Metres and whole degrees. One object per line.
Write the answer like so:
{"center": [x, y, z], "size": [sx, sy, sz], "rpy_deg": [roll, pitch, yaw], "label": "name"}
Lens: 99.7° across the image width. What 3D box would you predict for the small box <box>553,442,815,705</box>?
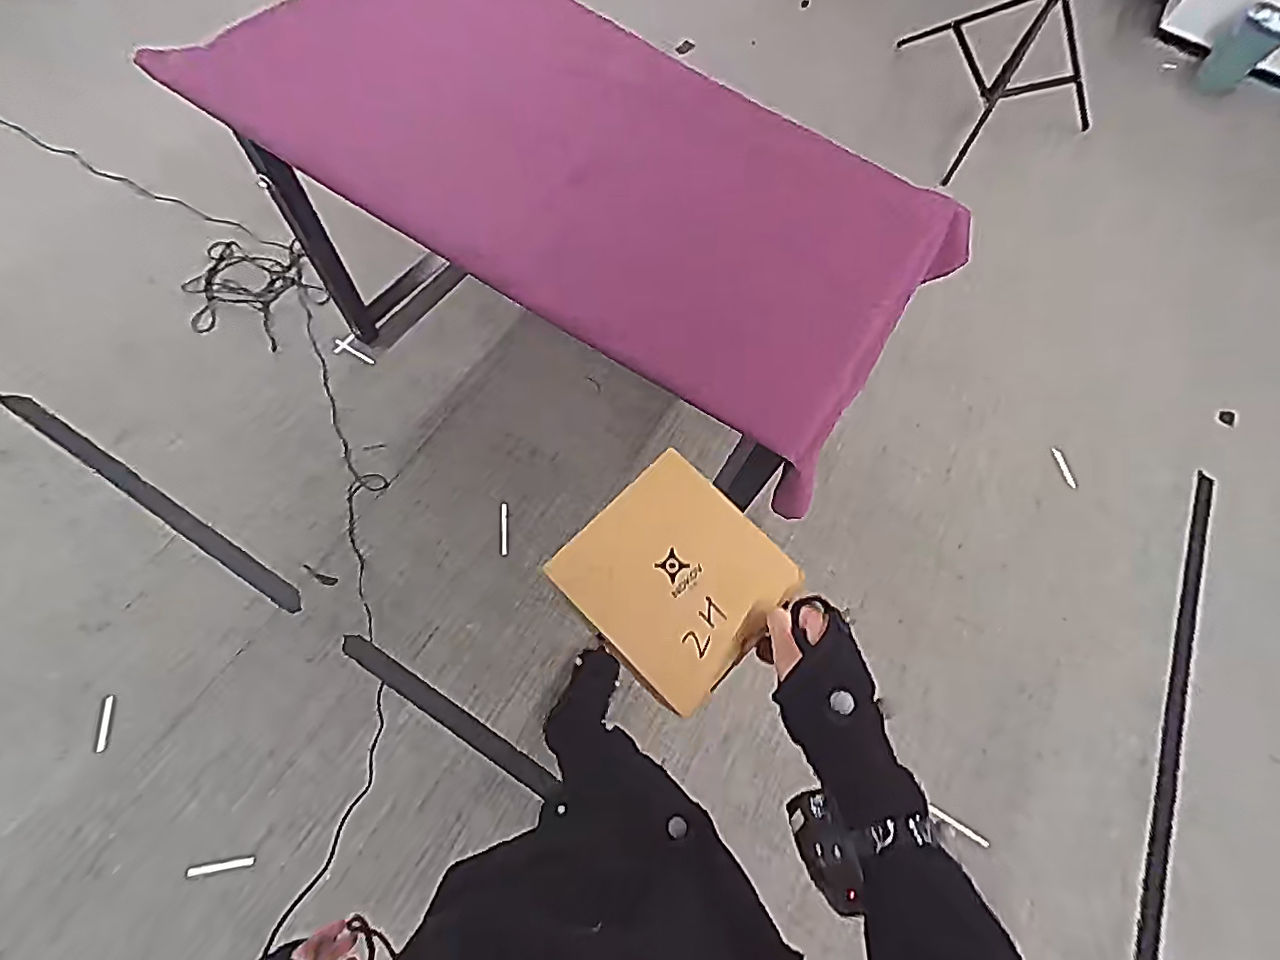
{"center": [0.032, 0.098, 0.546], "size": [0.179, 0.176, 0.168], "rpy_deg": [44, 74, 8], "label": "small box"}
